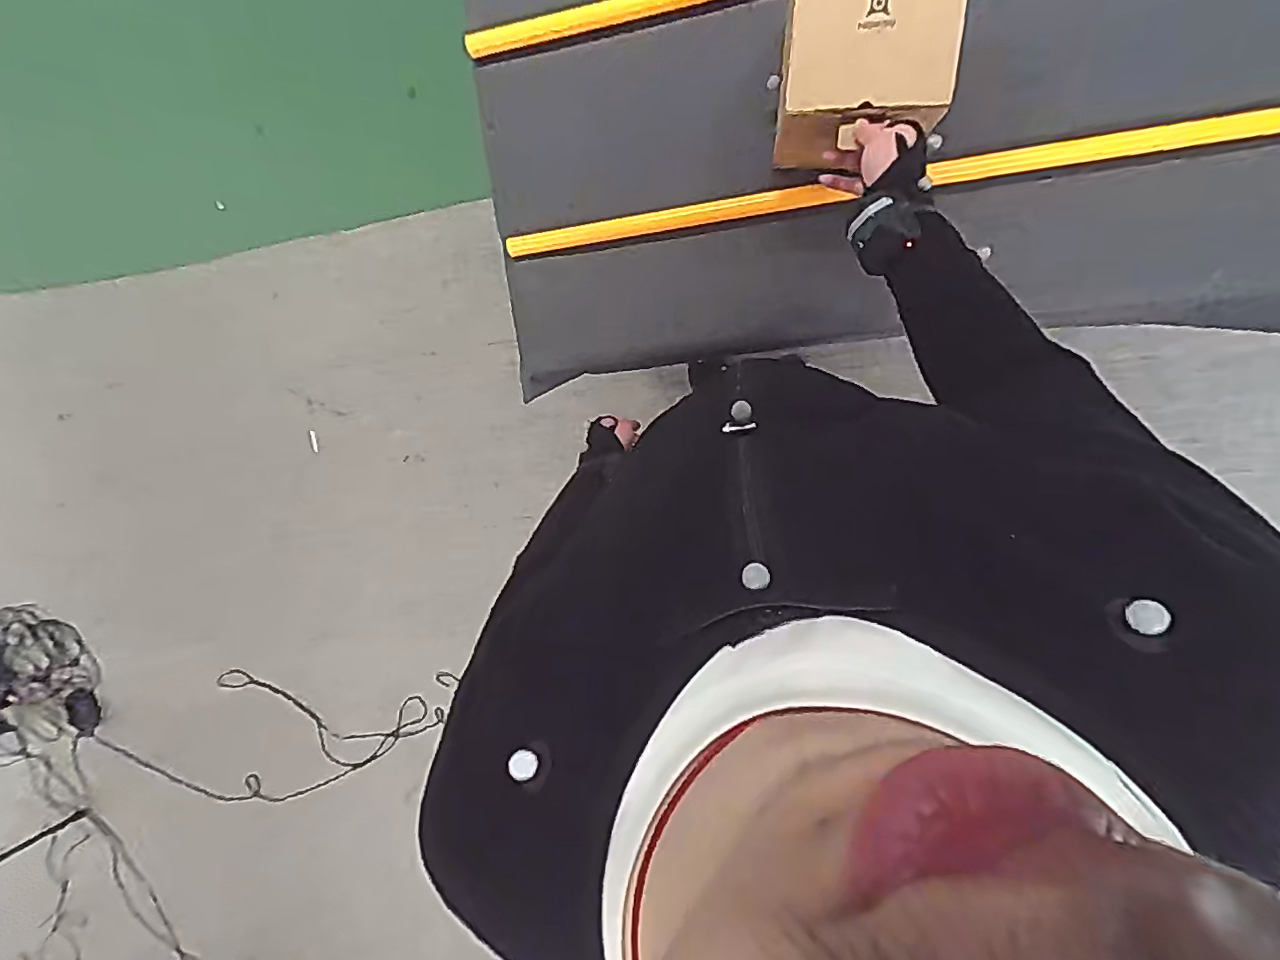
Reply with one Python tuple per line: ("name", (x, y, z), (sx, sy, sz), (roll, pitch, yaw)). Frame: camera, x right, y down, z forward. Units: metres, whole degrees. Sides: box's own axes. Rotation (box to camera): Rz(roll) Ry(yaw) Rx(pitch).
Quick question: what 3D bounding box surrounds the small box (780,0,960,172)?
("small box", (0.253, -0.478, 0.629), (0.168, 0.176, 0.179), (2, 102, 12))
